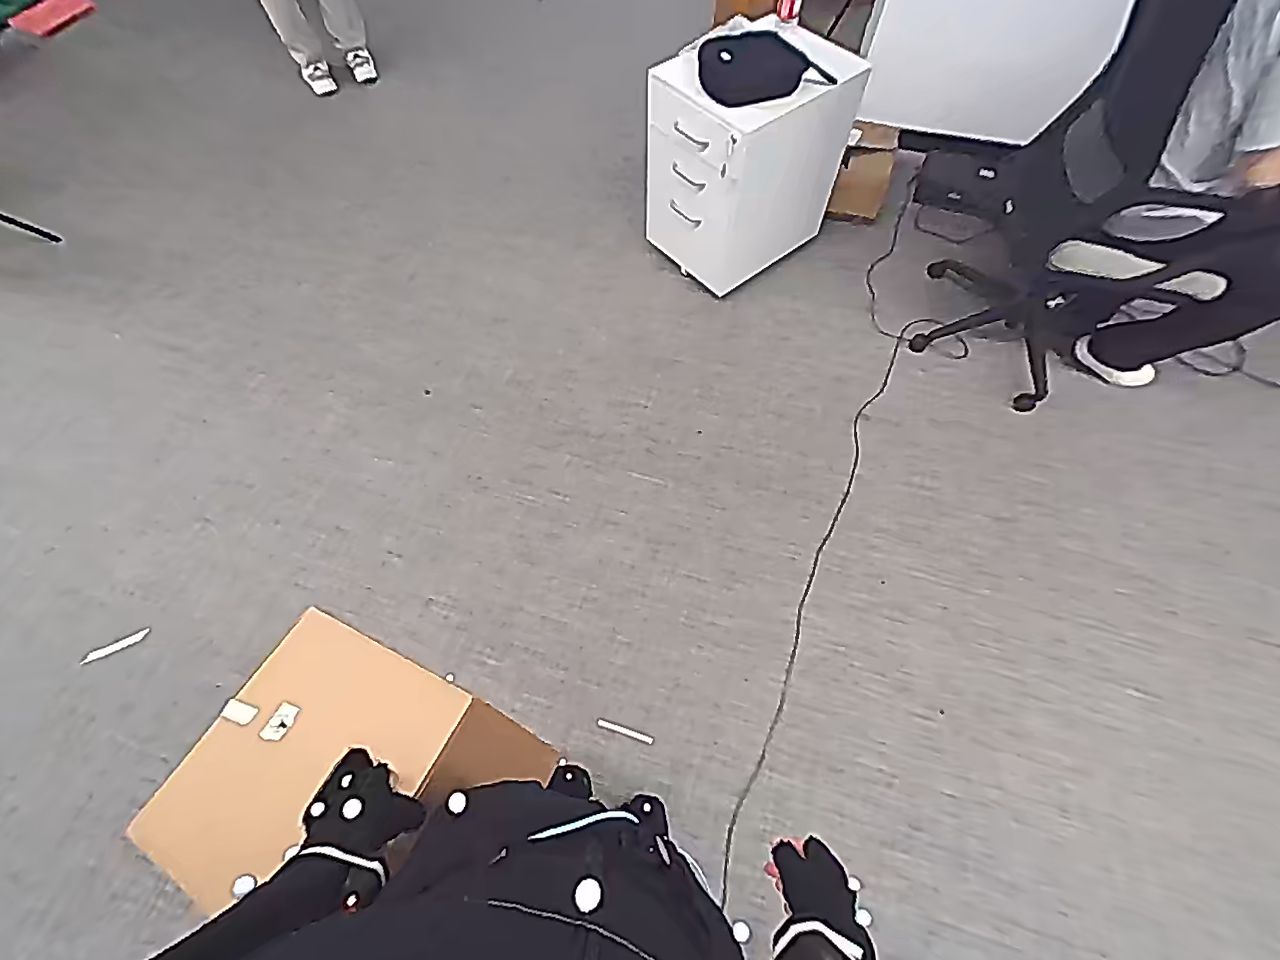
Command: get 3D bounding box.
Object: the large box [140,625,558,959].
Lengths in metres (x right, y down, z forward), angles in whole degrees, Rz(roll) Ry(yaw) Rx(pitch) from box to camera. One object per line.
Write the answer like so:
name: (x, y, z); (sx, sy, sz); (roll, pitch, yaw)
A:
large box: (-0.377, 0.472, 0.815); (0.320, 0.408, 0.320); (19, 60, 22)
